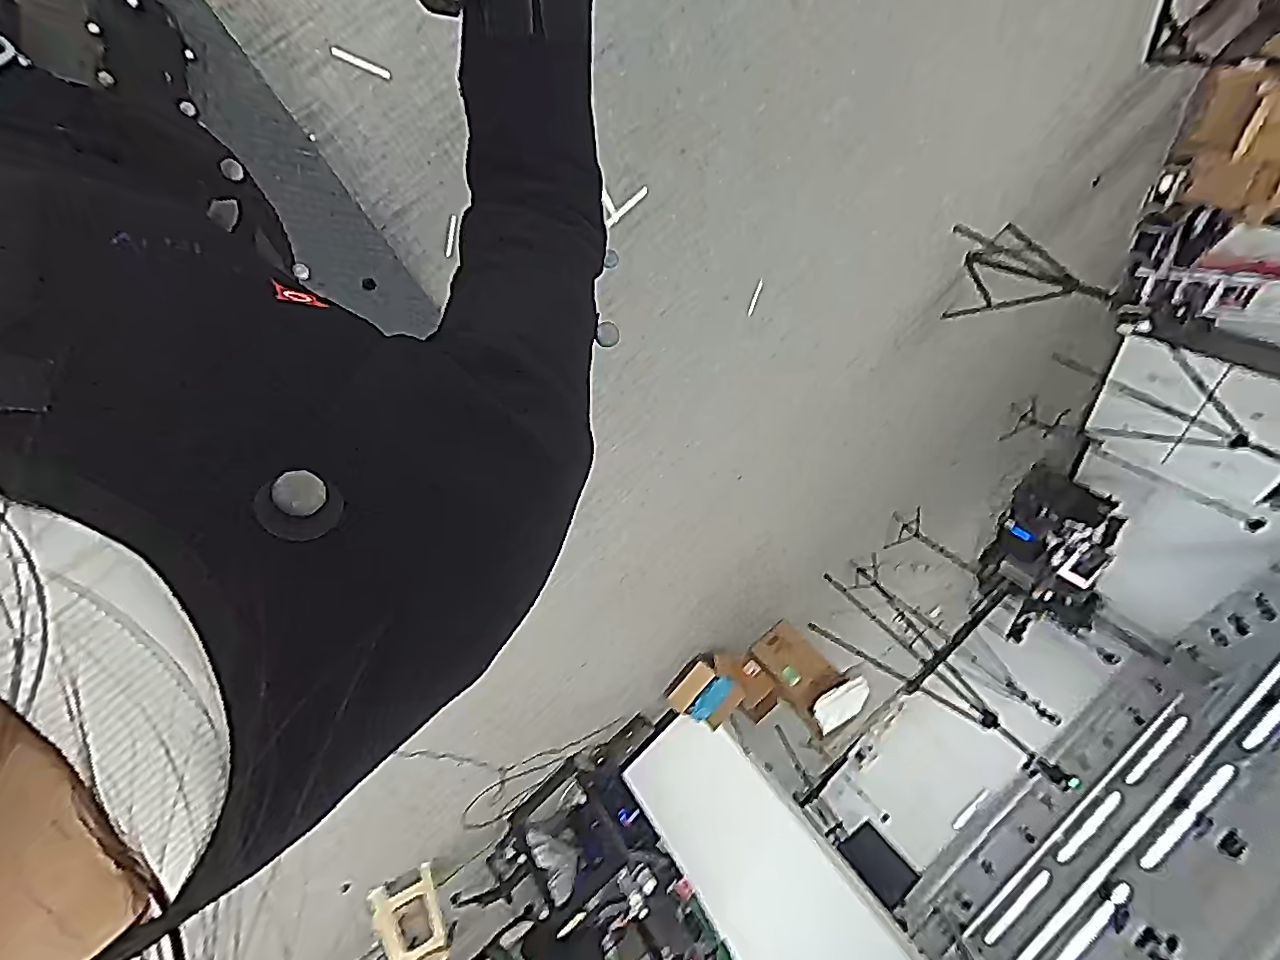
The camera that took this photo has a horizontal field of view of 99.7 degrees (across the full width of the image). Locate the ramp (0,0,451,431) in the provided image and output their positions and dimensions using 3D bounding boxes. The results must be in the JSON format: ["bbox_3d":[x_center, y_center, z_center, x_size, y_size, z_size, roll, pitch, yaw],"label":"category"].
[{"bbox_3d":[-0.857,-0.520,1.177,0.509,0.206,0.991,-43,141,-8],"label":"ramp"}]
